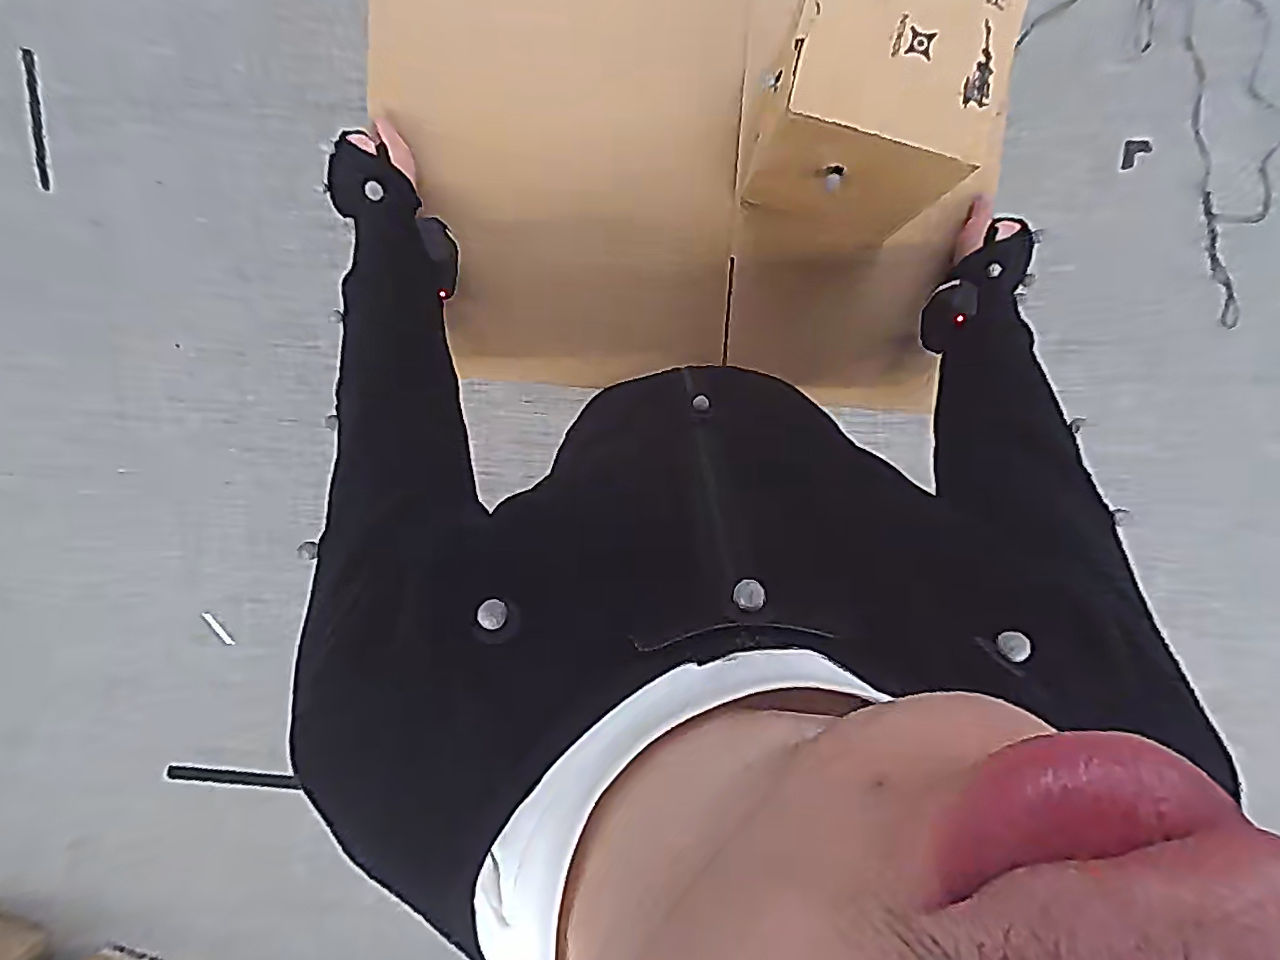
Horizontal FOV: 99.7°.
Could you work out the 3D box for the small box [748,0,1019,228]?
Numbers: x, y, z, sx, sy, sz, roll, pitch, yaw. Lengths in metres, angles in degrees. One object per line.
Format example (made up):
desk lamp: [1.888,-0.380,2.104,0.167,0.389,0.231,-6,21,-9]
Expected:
small box: [0.220,-0.375,0.533,0.179,0.176,0.168,14,94,-2]
